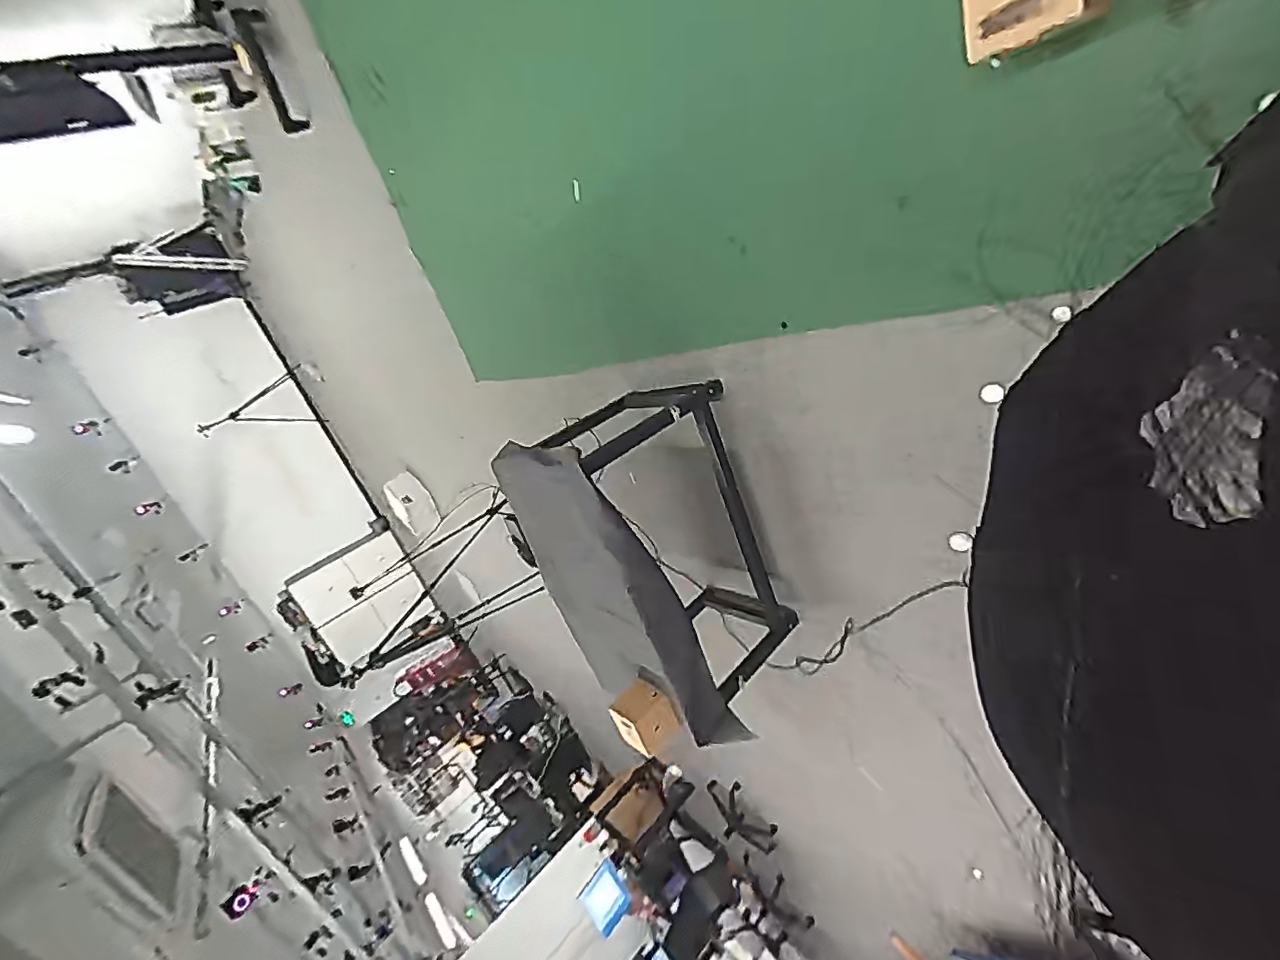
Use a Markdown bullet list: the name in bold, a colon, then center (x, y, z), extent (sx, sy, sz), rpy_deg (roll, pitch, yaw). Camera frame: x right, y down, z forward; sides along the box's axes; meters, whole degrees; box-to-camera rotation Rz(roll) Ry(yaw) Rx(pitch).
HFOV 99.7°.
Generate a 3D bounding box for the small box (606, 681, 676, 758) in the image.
- **small box**: center (0.007, 0.896, 2.041), extent (0.168, 0.176, 0.179), rpy_deg (5, 123, 52)
